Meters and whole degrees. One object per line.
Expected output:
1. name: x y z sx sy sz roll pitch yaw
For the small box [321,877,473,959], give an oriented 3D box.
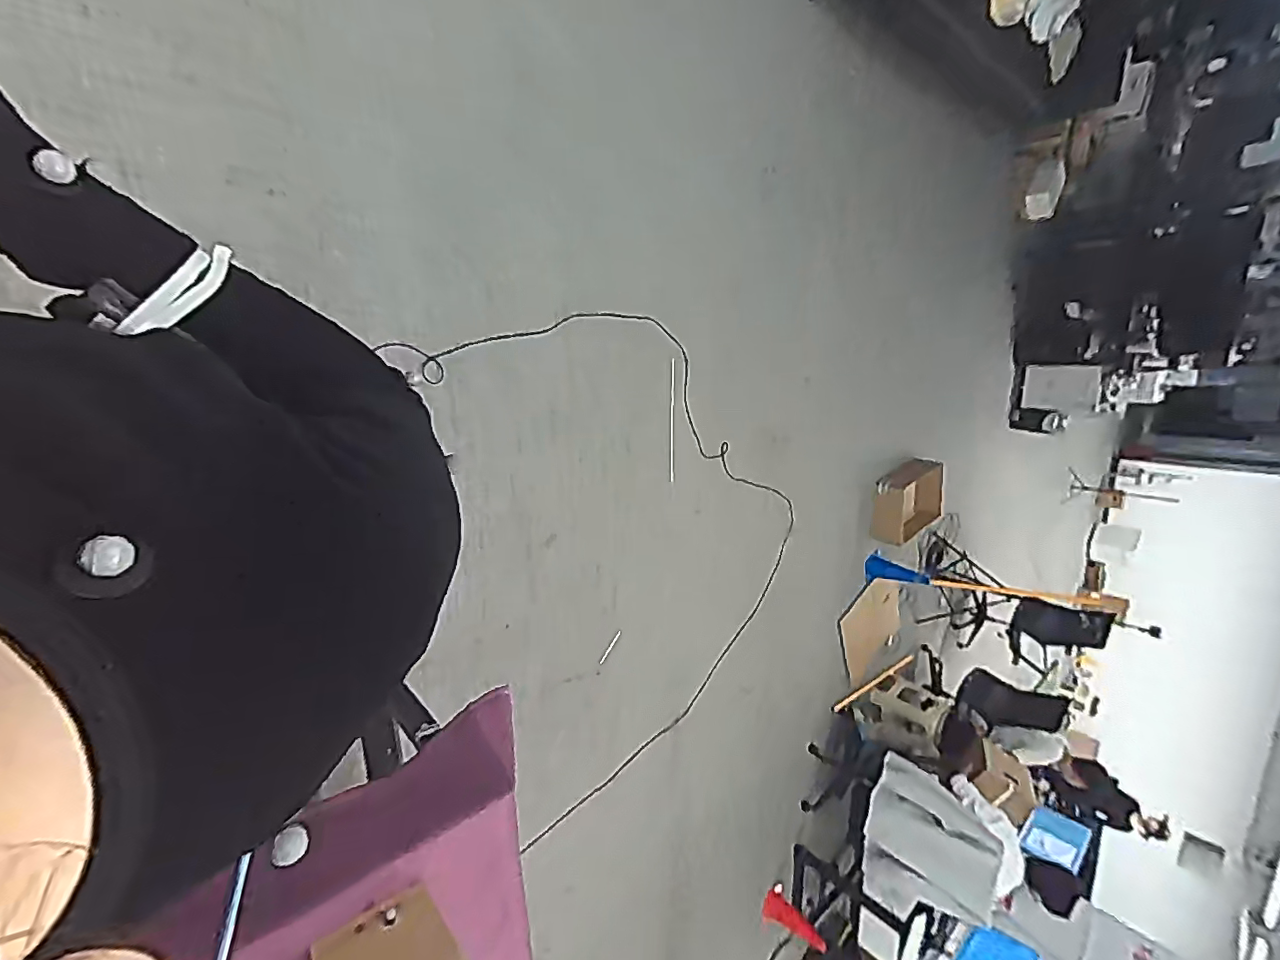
1. small box: -0.361 0.757 0.805 0.168 0.176 0.179 -7 103 -41
